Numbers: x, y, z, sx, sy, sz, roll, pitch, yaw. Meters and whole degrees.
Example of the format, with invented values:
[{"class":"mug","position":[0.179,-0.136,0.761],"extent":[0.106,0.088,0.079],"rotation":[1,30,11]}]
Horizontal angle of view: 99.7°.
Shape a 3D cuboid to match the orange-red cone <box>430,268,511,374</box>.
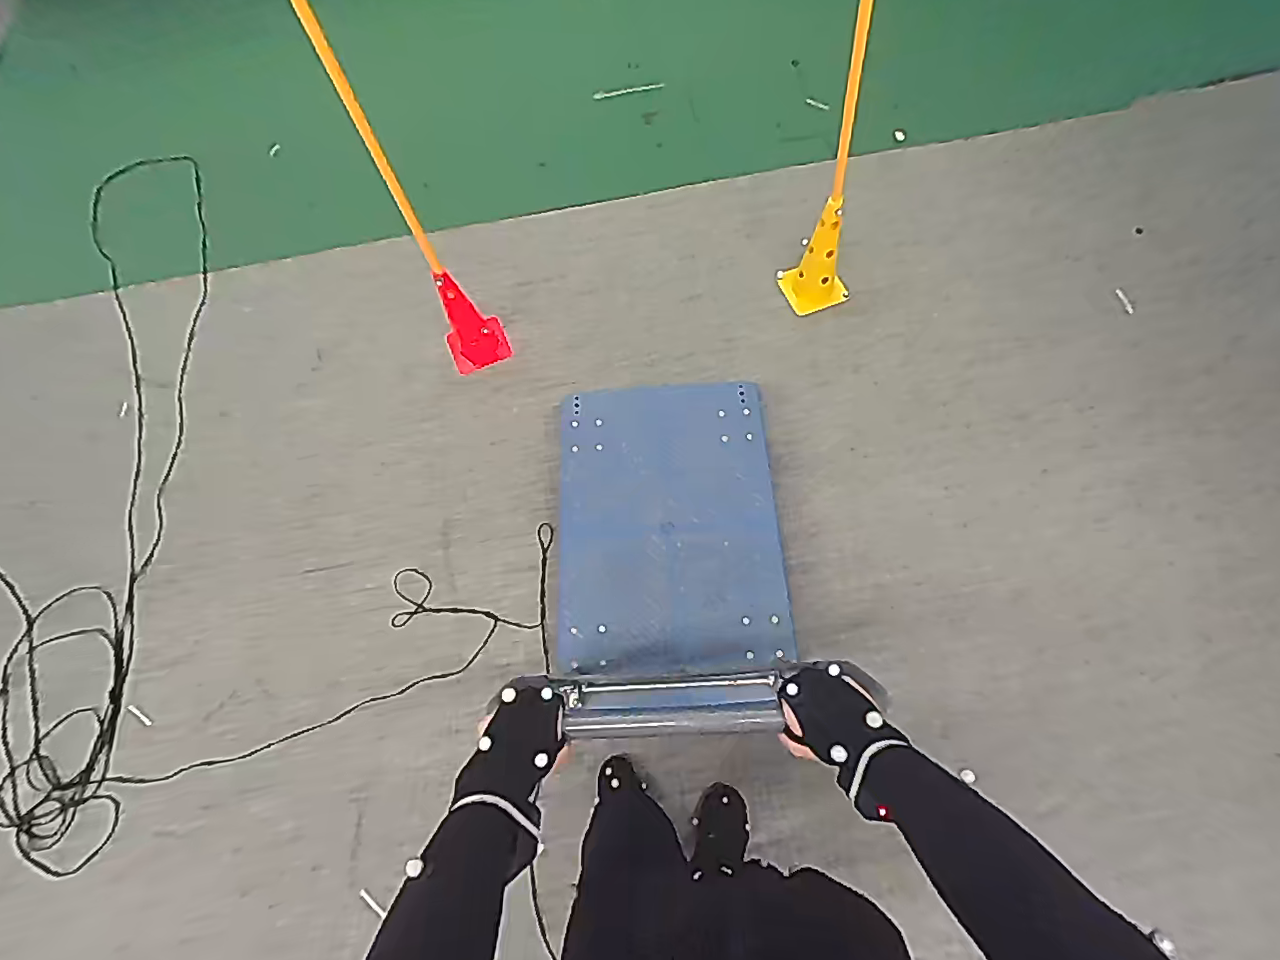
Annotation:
[{"class":"orange-red cone","position":[-0.584,-0.541,1.748],"extent":[0.199,0.360,0.198],"rotation":[-24,66,-4]}]
